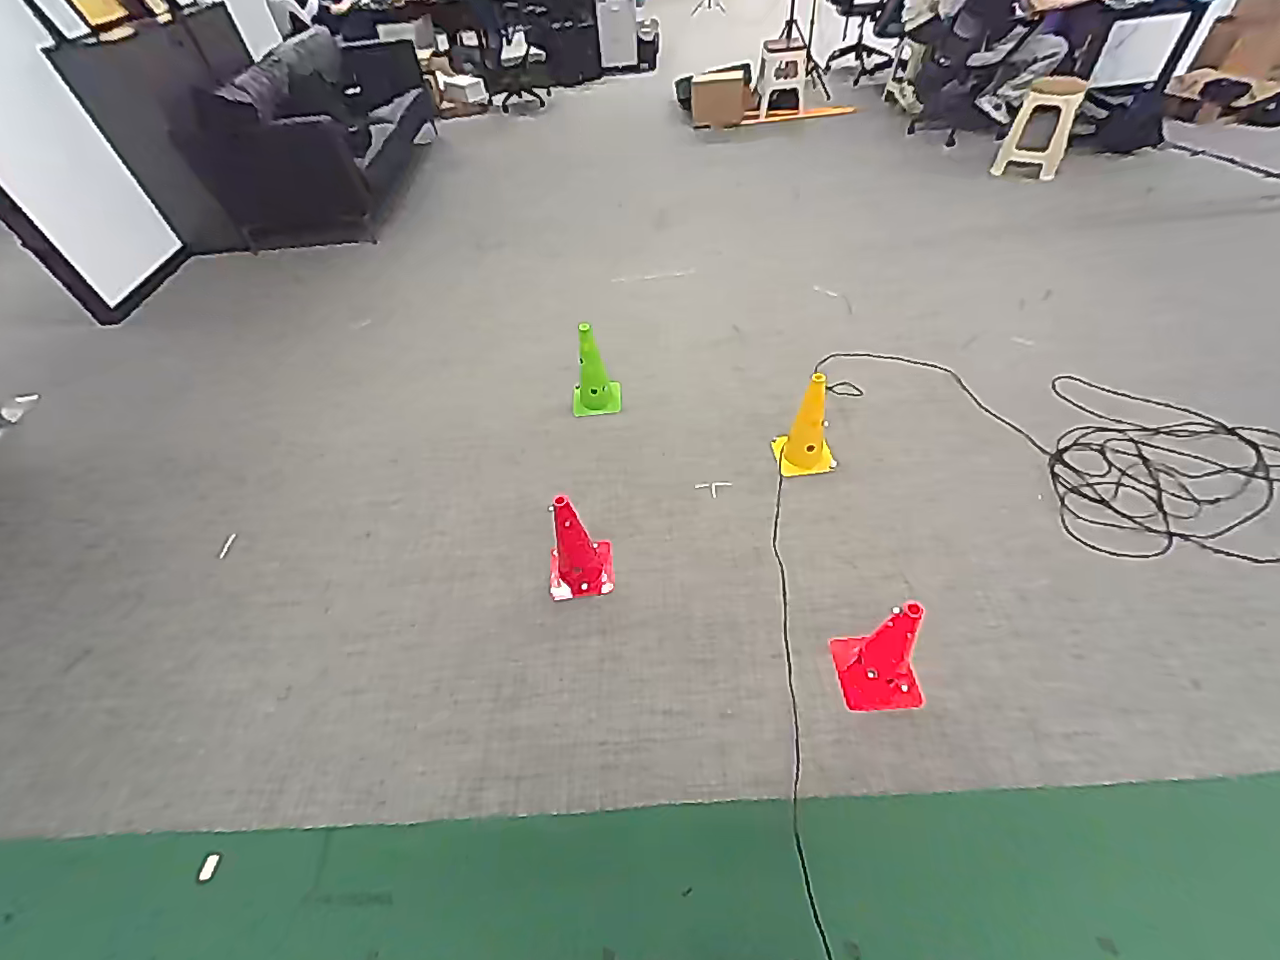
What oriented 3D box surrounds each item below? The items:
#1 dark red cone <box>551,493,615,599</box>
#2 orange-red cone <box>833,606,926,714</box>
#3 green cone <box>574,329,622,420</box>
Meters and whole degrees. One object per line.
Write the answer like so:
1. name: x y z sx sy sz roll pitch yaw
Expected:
1. dark red cone: -0.197 0.175 1.593 0.202 0.394 0.201 -9 49 -1
2. orange-red cone: 0.621 0.408 1.319 0.198 0.360 0.199 -4 47 2
3. green cone: -0.192 -0.440 2.176 0.202 0.368 0.200 -5 48 0
